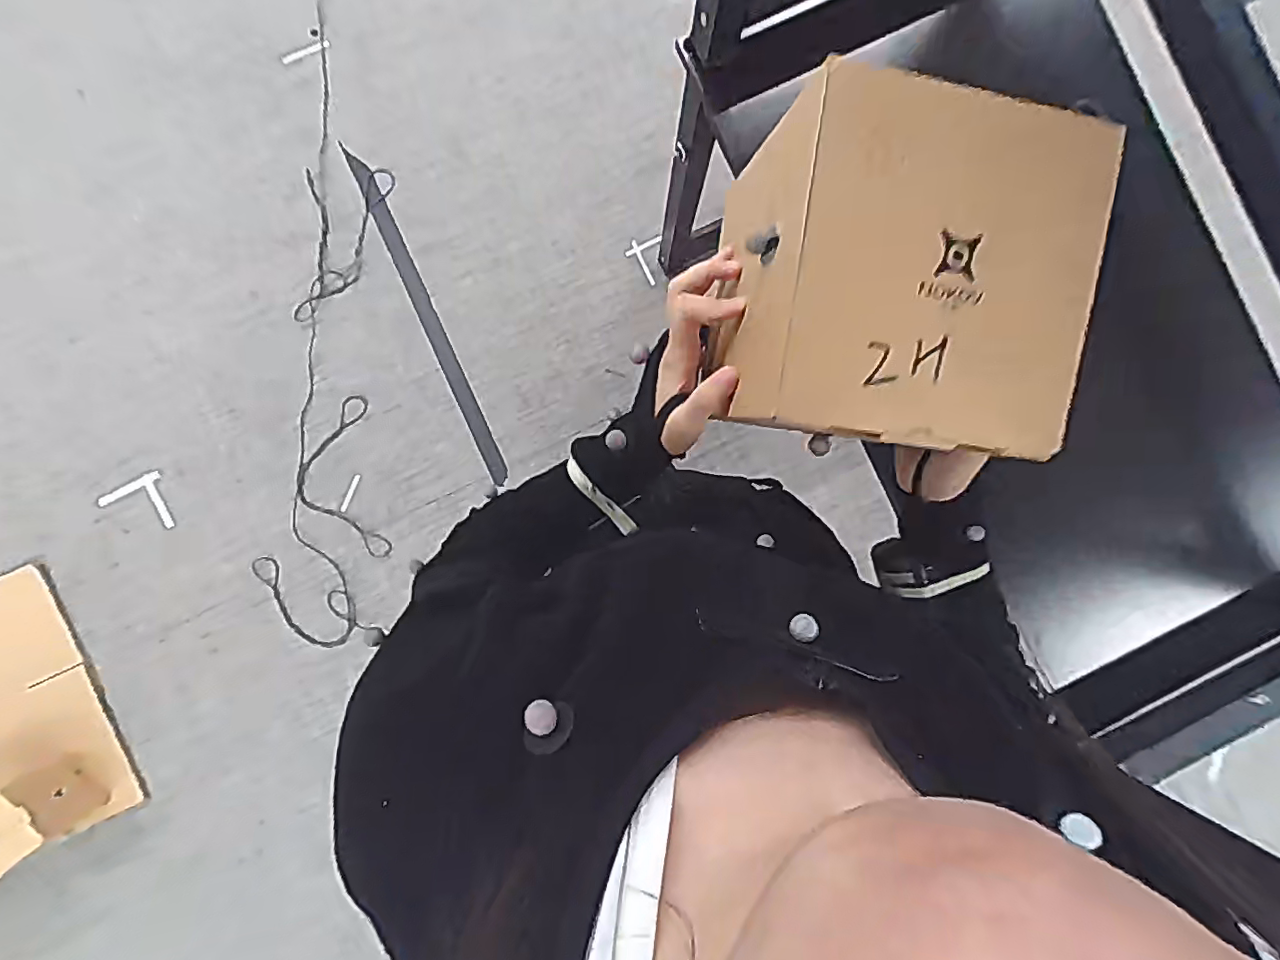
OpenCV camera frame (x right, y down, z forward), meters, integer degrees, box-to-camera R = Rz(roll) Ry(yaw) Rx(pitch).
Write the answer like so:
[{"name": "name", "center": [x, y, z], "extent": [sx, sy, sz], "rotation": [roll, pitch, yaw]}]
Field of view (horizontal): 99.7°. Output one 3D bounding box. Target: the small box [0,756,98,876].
[{"name": "small box", "center": [-1.500, 0.822, 1.323], "extent": [0.179, 0.176, 0.168], "rotation": [-38, 91, -3]}]
